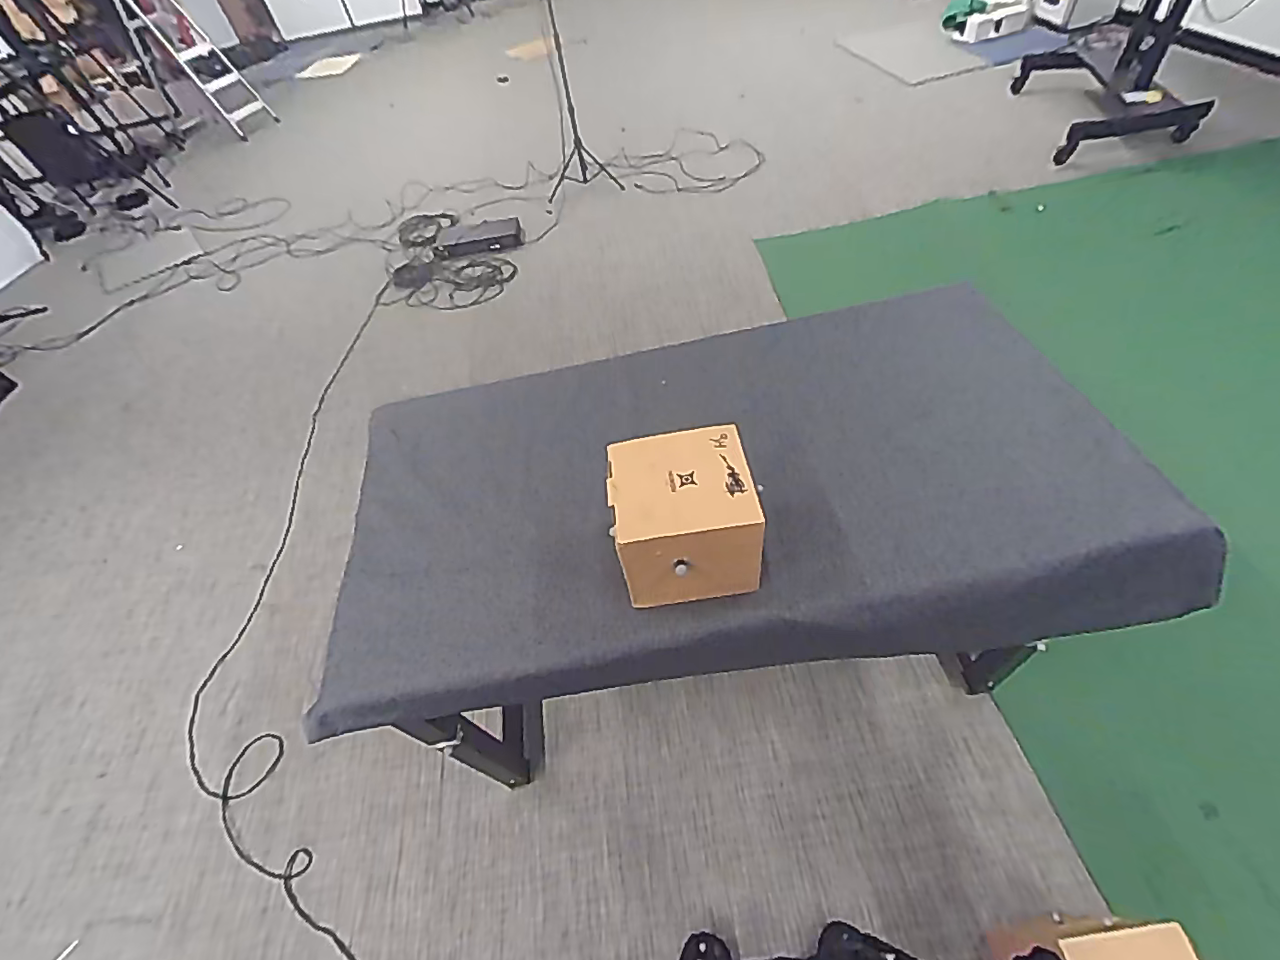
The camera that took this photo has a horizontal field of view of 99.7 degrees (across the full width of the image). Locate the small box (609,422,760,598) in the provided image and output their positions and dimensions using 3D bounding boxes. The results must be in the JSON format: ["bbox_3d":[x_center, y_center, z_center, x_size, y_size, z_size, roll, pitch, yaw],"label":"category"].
[{"bbox_3d":[0.060,0.047,0.738,0.179,0.176,0.168,-8,50,3],"label":"small box"}]

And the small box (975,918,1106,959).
[{"bbox_3d":[0.721,0.868,0.926,0.179,0.176,0.168,-12,50,1],"label":"small box"}]

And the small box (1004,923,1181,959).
[{"bbox_3d":[0.690,0.769,0.797,0.179,0.176,0.168,-9,50,2],"label":"small box"}]
